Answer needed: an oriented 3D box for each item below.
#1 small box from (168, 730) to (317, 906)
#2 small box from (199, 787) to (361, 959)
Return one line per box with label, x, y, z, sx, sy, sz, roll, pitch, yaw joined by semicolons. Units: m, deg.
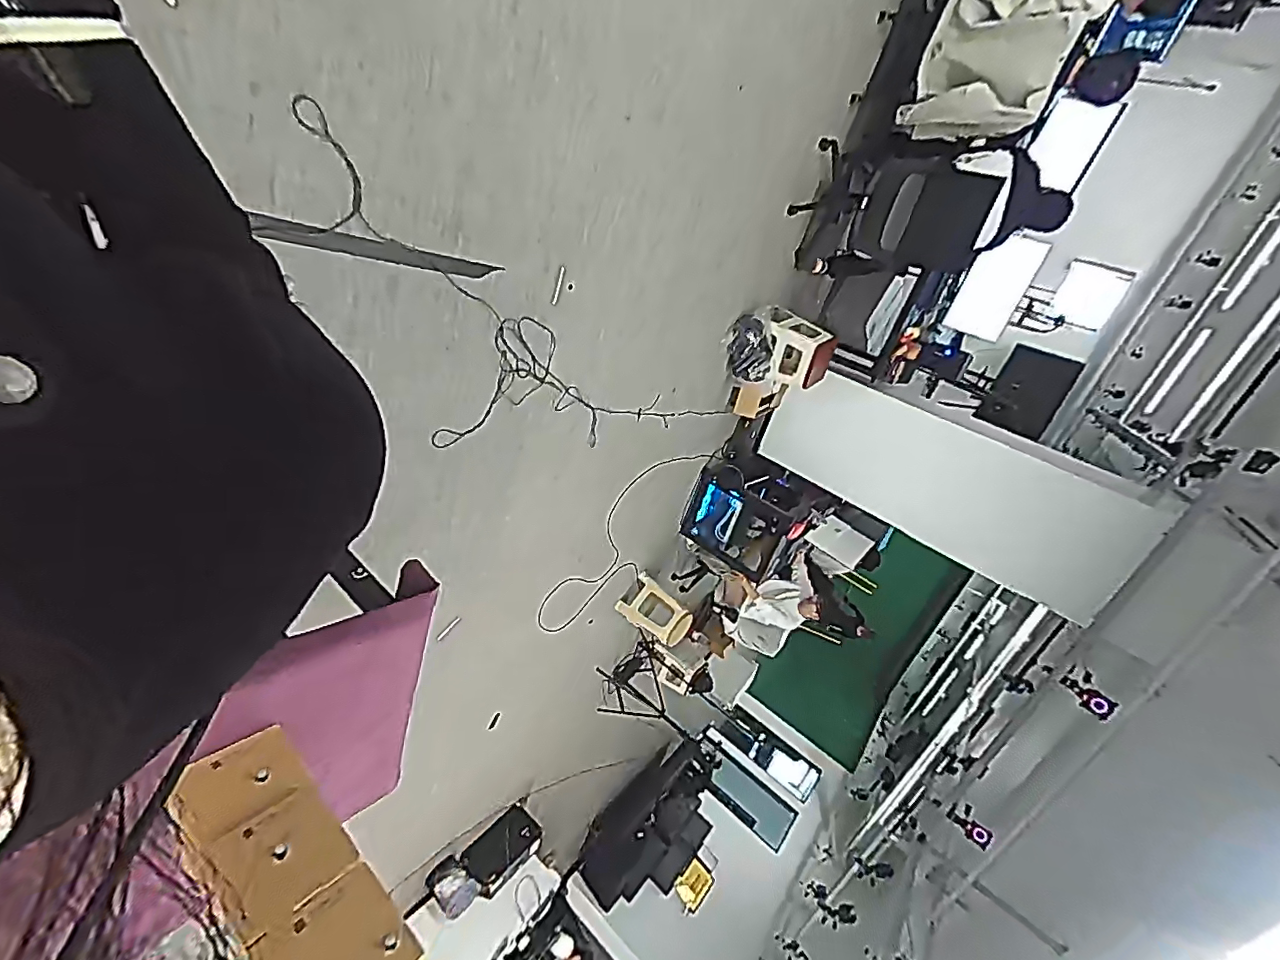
small box;-0.700;0.576;0.952;0.168;0.176;0.179;-16;133;-53
small box;-0.572;0.637;0.867;0.168;0.176;0.179;-21;136;-49
